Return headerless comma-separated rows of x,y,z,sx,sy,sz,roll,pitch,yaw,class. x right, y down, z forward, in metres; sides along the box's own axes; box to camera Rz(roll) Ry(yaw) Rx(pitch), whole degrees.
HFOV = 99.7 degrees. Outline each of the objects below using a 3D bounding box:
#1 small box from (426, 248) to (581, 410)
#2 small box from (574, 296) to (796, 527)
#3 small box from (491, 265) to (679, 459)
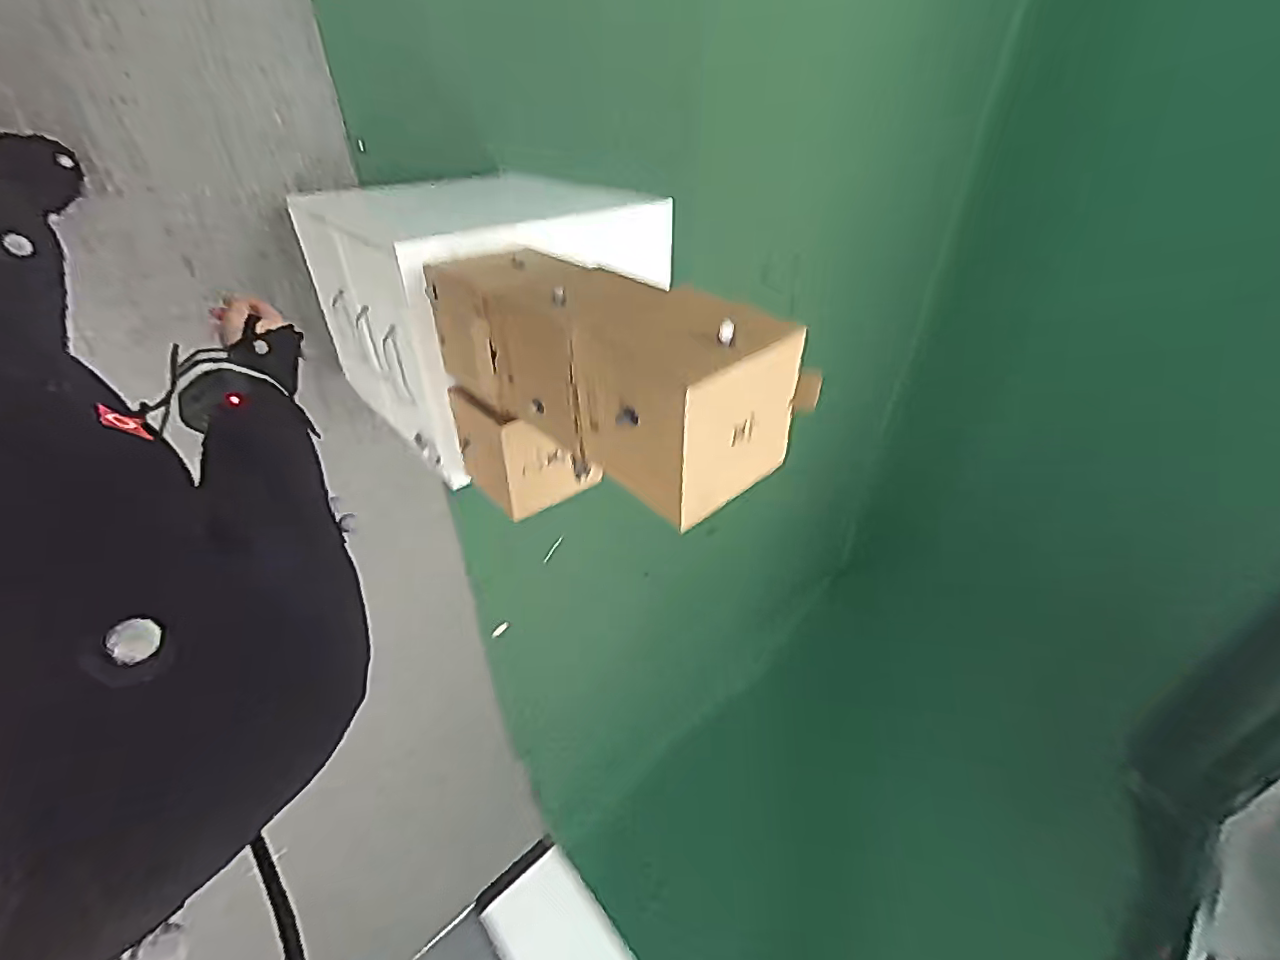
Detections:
-0.188,-0.225,0.780,0.179,0.176,0.168,-28,135,-34,small box
0.041,-0.085,0.595,0.179,0.176,0.168,-31,138,-31,small box
-0.072,-0.158,0.688,0.179,0.176,0.168,-31,138,-33,small box
